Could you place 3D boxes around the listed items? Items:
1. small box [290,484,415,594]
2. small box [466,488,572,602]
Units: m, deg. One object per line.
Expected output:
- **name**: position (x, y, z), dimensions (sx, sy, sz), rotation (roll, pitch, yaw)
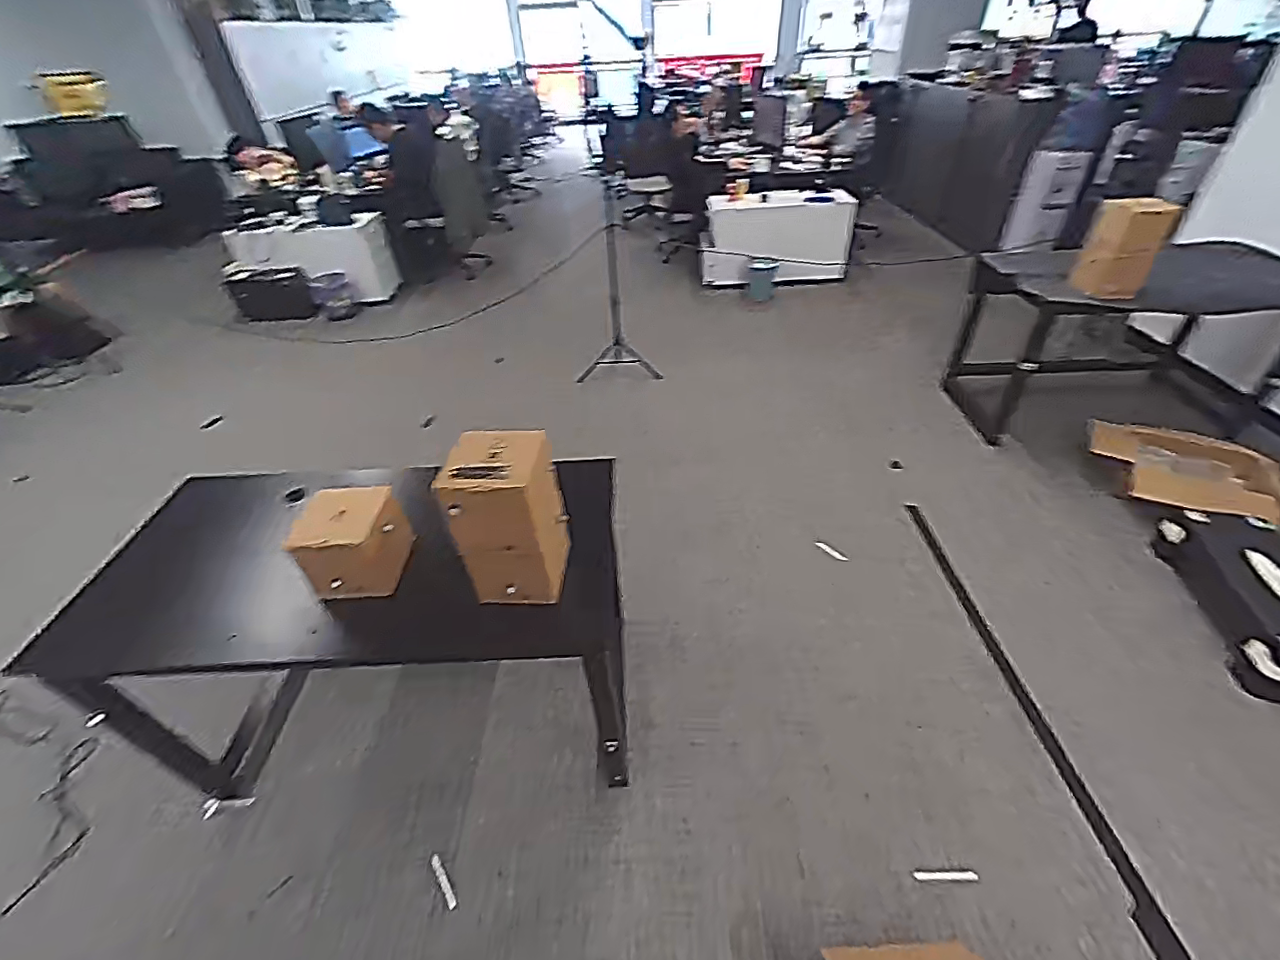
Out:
- **small box**: position (-0.615, 0.129, 1.189), dimensions (0.168, 0.176, 0.179), rotation (-3, 40, 1)
- **small box**: position (-0.246, 0.136, 1.150), dimensions (0.168, 0.176, 0.179), rotation (0, 40, 6)
